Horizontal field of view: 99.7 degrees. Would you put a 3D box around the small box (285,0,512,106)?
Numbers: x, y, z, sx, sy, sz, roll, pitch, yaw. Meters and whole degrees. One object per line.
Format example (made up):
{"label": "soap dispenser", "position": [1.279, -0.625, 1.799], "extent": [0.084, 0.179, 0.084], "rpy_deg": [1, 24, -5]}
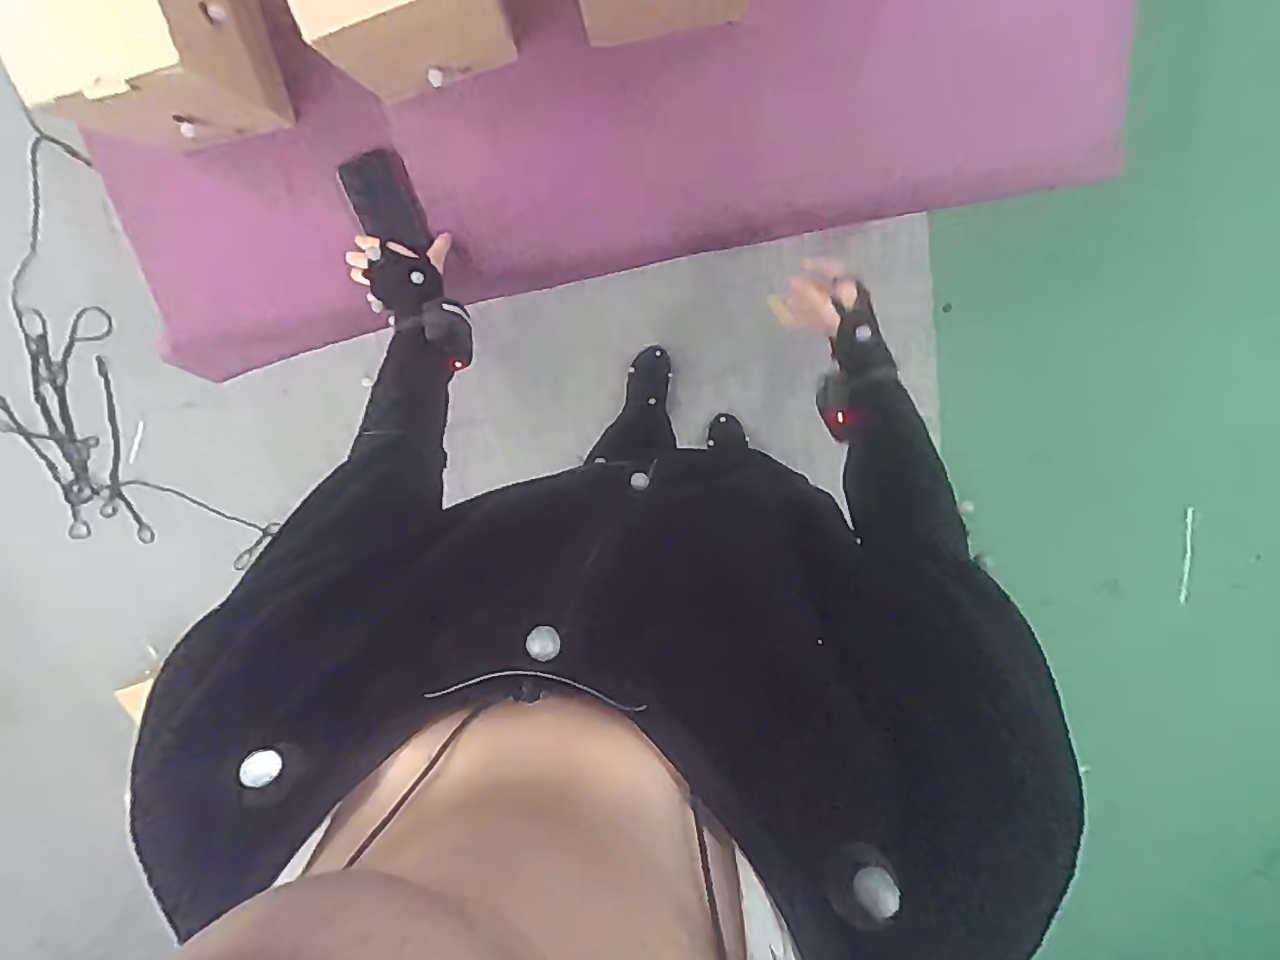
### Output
{"label": "small box", "position": [-0.244, -0.511, 0.528], "extent": [0.168, 0.176, 0.179], "rpy_deg": [-14, 107, 6]}

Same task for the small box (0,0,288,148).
{"label": "small box", "position": [-0.507, -0.462, 0.551], "extent": [0.168, 0.176, 0.179], "rpy_deg": [-9, 108, 5]}

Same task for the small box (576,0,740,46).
{"label": "small box", "position": [0.012, -0.550, 0.509], "extent": [0.179, 0.176, 0.168], "rpy_deg": [-7, 108, 4]}

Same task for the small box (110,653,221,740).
{"label": "small box", "position": [-1.464, 0.668, 1.688], "extent": [0.179, 0.176, 0.168], "rpy_deg": [-19, 106, 8]}
